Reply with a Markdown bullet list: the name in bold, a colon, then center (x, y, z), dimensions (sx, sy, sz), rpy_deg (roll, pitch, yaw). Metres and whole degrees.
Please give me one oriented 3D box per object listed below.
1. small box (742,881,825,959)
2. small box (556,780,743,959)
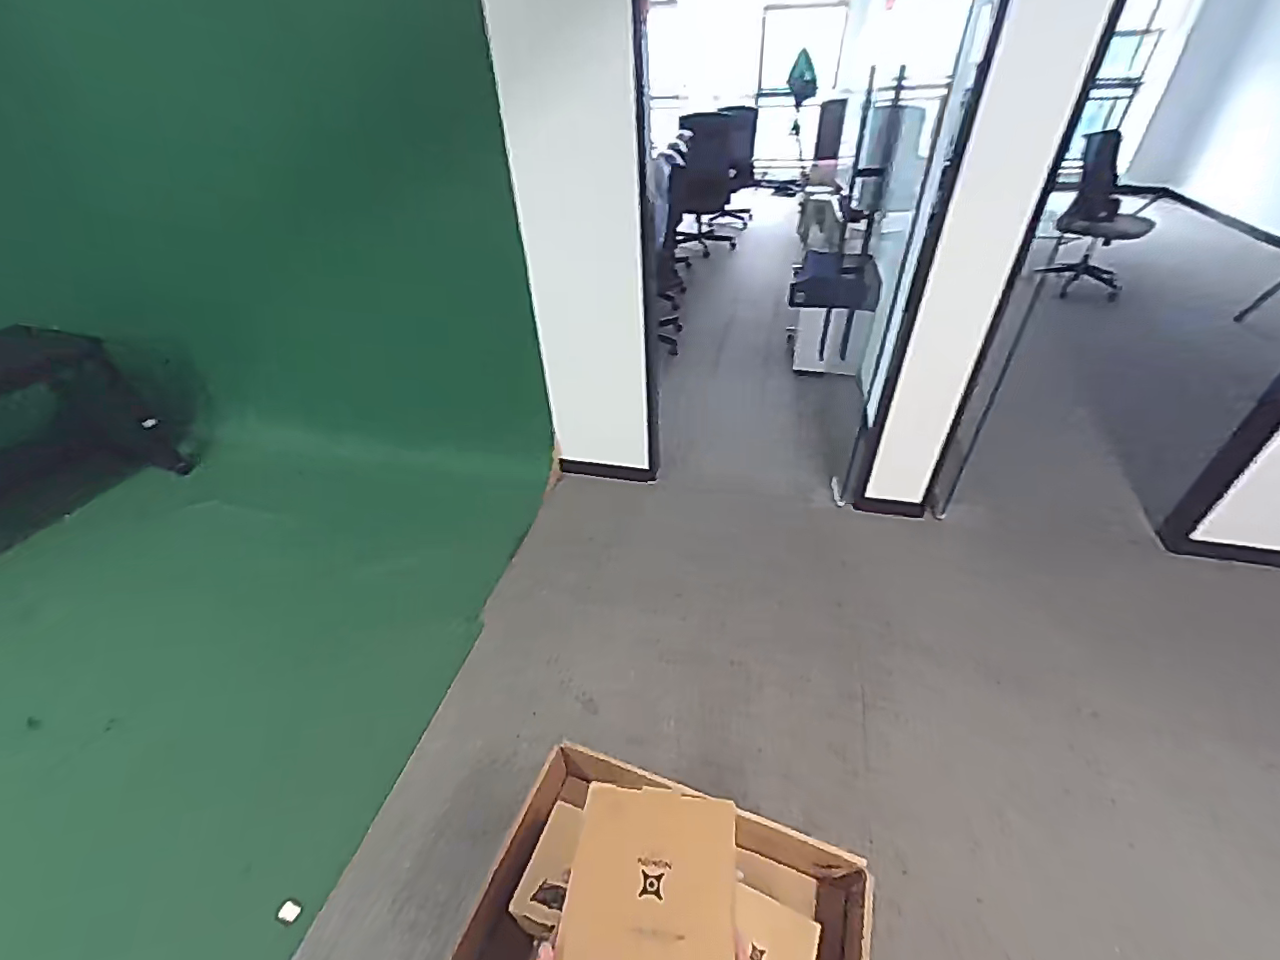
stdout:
- **small box**: center (0.177, 0.780, 0.853), dimensions (0.168, 0.176, 0.179), rpy_deg (16, 43, 22)
- **small box**: center (0.017, 0.457, 0.571), dimensions (0.168, 0.176, 0.179), rpy_deg (4, 35, 7)
